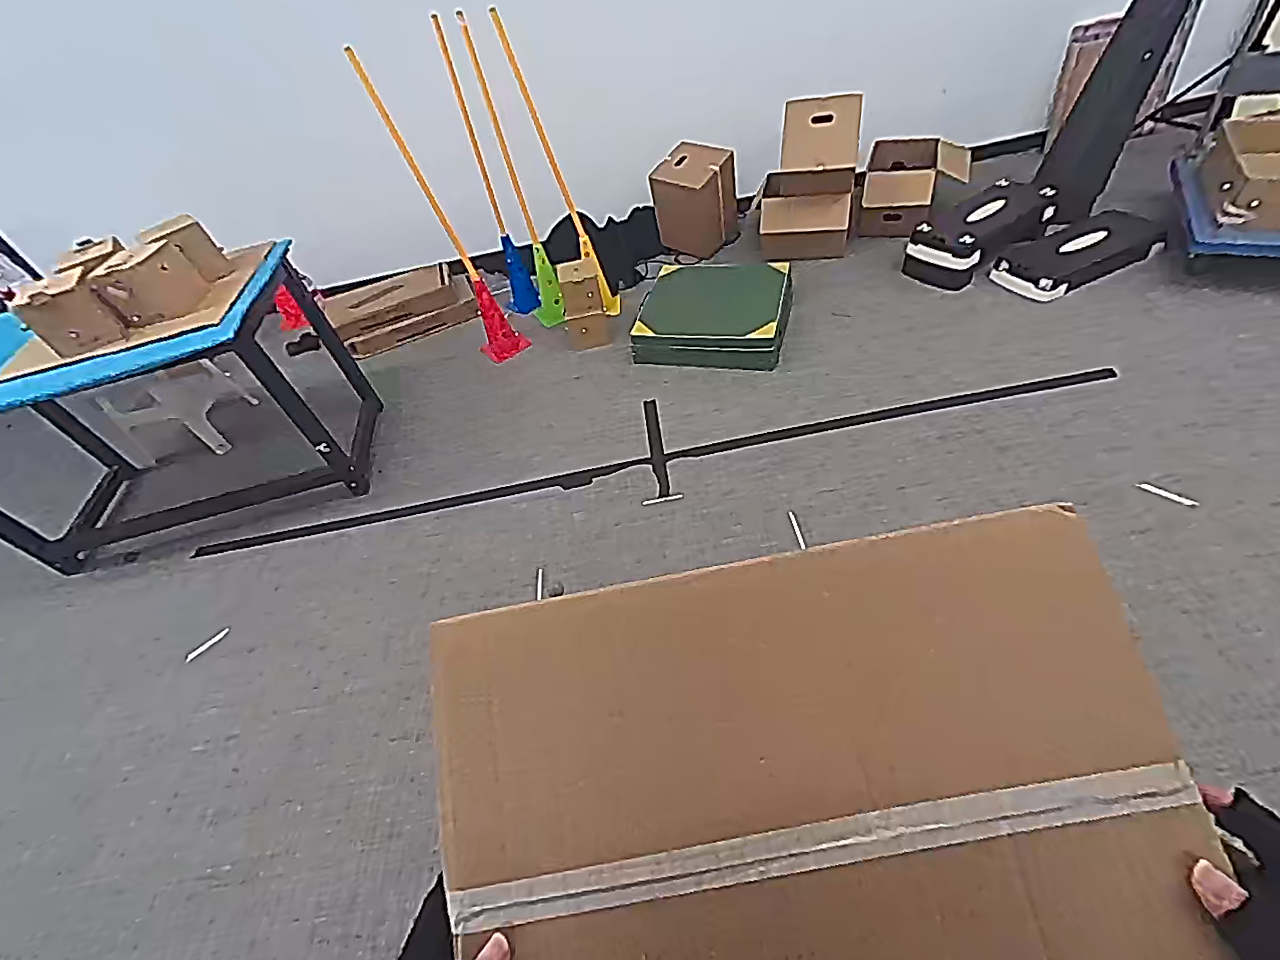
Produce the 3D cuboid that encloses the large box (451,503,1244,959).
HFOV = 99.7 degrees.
[{"bbox_3d":[0.108,0.239,0.450,0.408,0.320,0.320,-12,75,2],"label":"large box"}]
